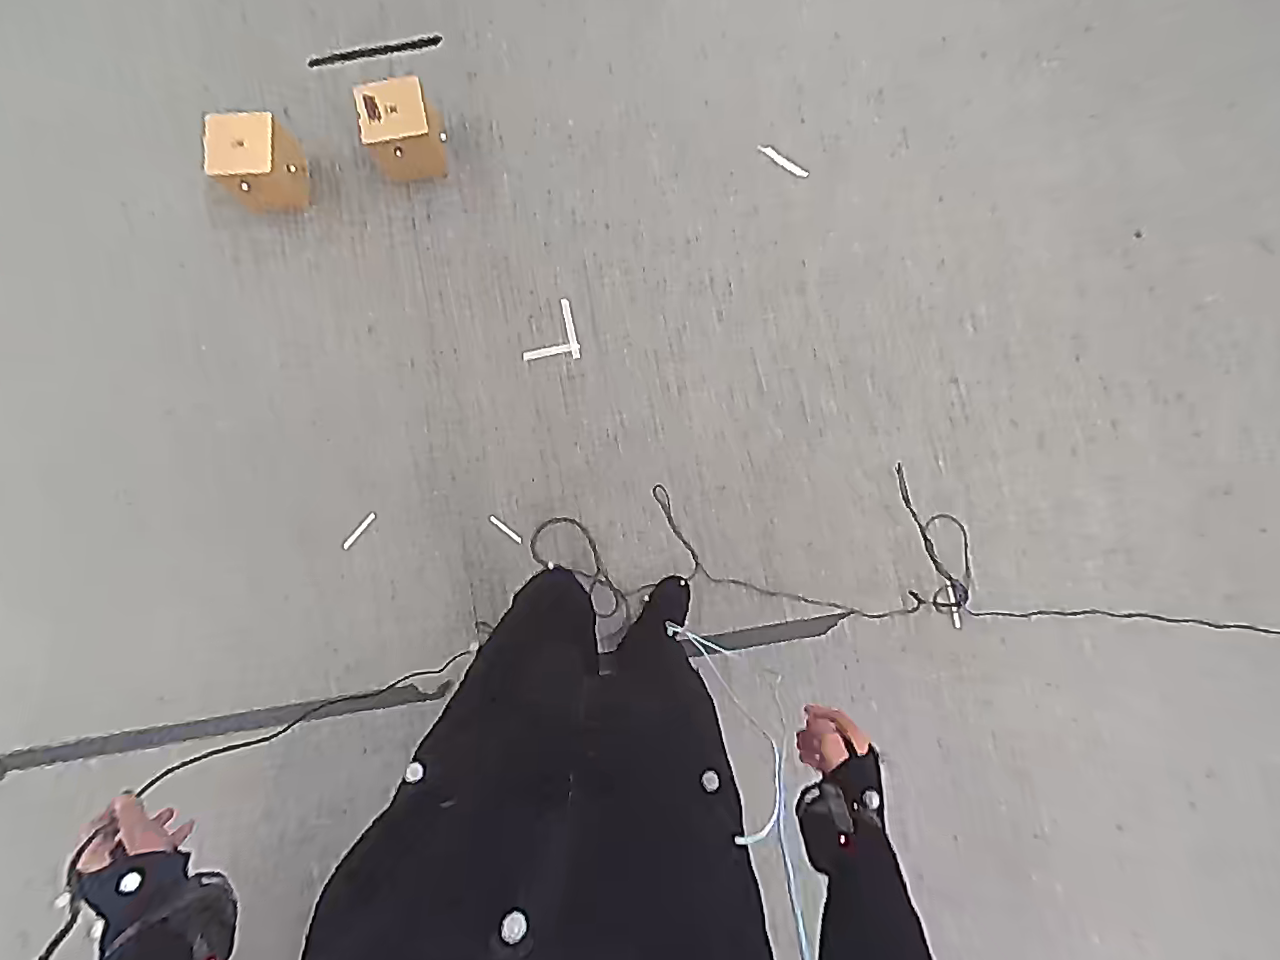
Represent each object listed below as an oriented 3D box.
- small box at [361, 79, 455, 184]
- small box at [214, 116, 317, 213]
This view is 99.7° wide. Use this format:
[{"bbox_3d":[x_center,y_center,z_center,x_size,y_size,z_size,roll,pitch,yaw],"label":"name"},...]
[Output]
[{"bbox_3d":[-0.631,-0.948,1.487,0.179,0.176,0.168,-11,85,-2],"label":"small box"},{"bbox_3d":[-1.017,-0.857,1.481,0.179,0.176,0.168,-2,85,1],"label":"small box"}]
